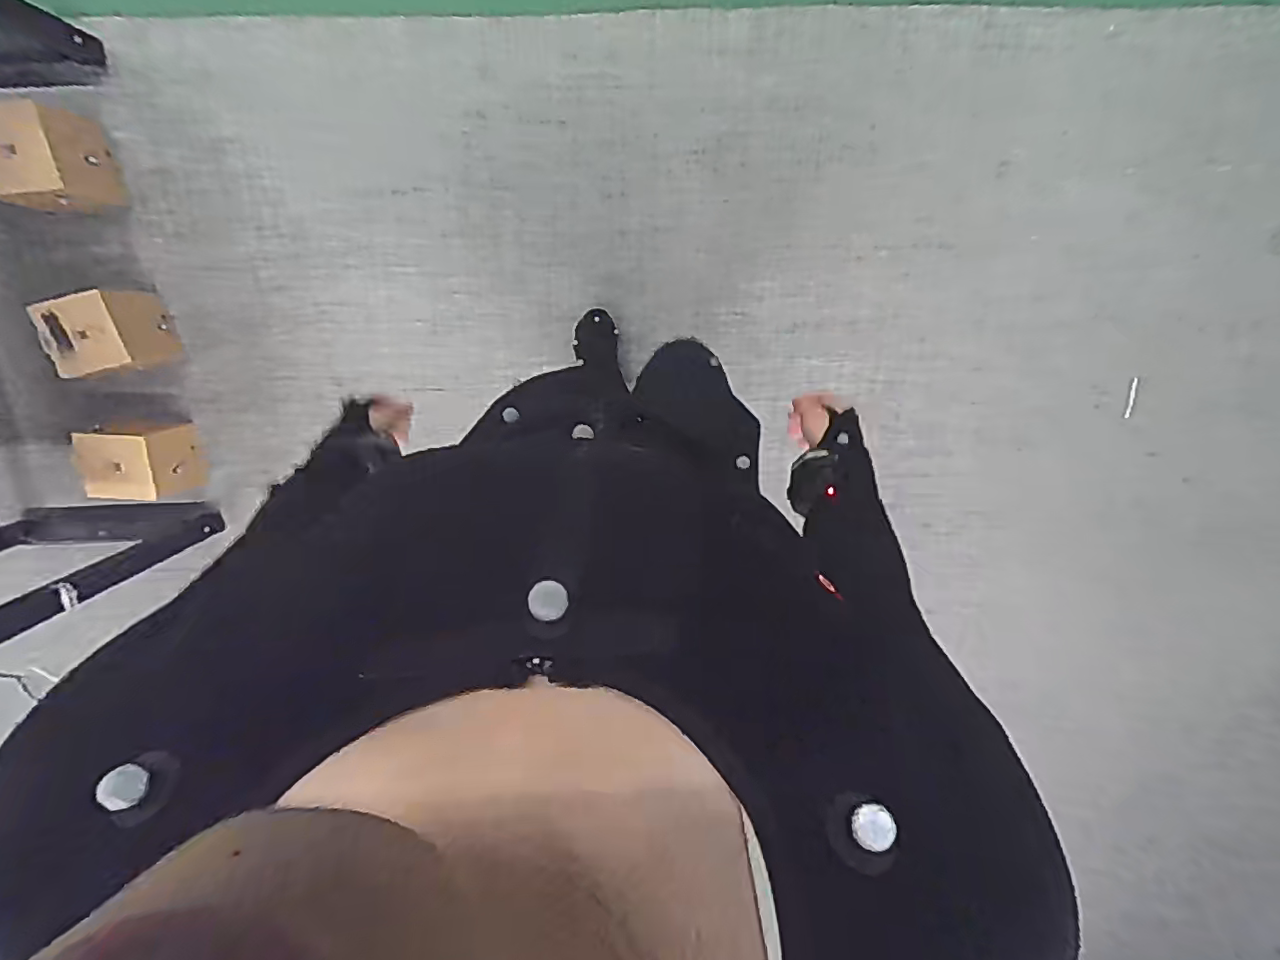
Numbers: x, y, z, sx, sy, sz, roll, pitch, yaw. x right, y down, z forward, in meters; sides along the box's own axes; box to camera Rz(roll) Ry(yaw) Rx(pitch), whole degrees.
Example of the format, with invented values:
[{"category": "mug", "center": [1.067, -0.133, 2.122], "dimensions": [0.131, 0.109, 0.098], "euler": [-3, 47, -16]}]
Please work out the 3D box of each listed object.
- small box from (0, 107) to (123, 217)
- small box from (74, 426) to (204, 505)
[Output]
[{"category": "small box", "center": [-1.309, -0.693, 1.195], "dimensions": [0.179, 0.176, 0.168], "euler": [-7, 106, 1]}, {"category": "small box", "center": [-1.269, -0.043, 1.389], "dimensions": [0.179, 0.176, 0.168], "euler": [2, 107, -1]}]
